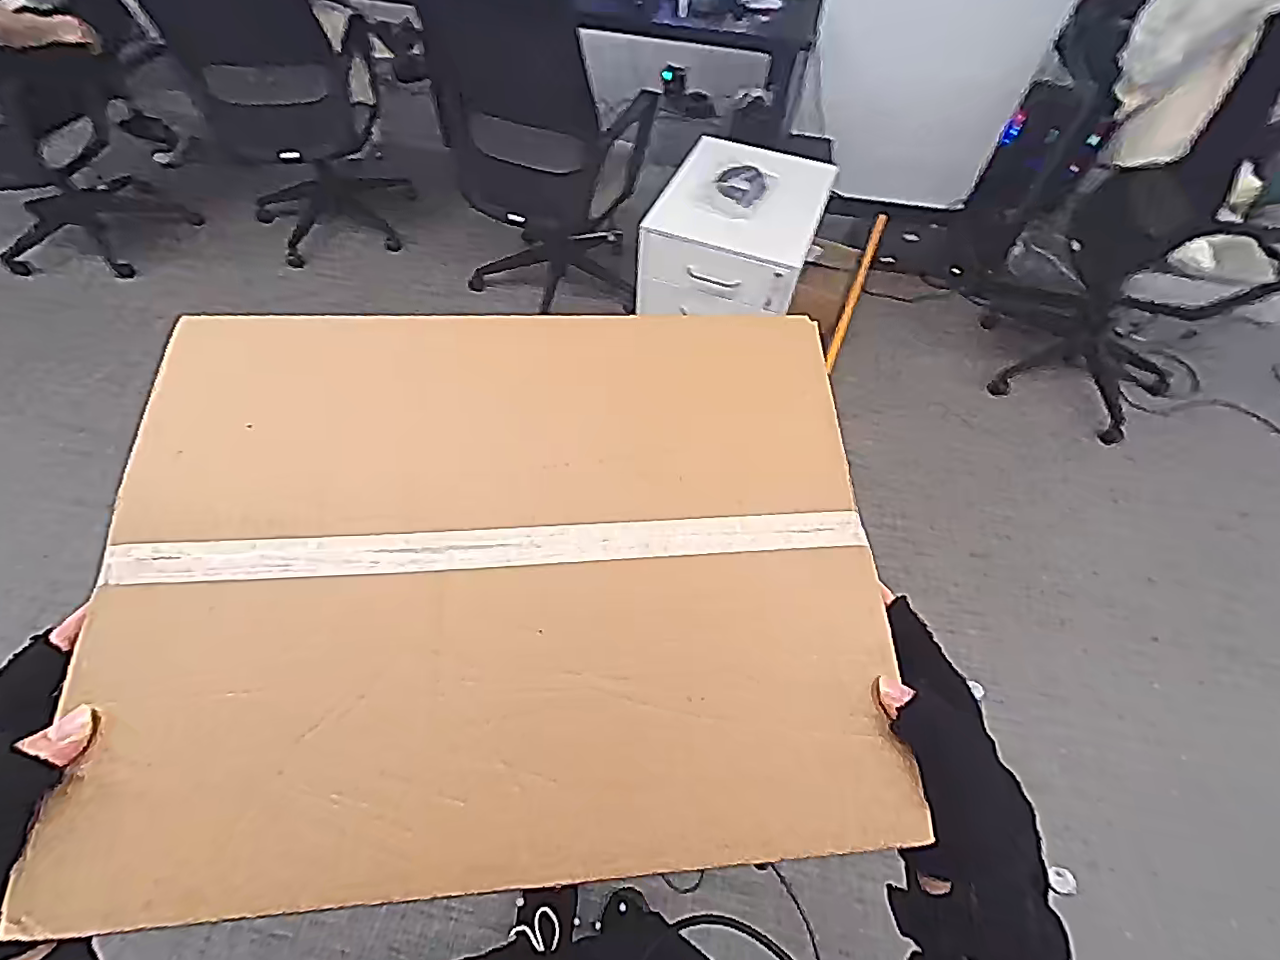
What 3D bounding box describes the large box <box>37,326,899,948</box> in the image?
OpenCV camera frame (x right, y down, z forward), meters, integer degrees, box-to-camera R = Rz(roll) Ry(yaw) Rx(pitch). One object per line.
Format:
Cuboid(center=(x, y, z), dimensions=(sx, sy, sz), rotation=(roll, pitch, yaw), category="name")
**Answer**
Cuboid(center=(-0.087, 0.099, 0.442), dimensions=(0.408, 0.320, 0.320), rotation=(-3, 68, -6), category="large box")
